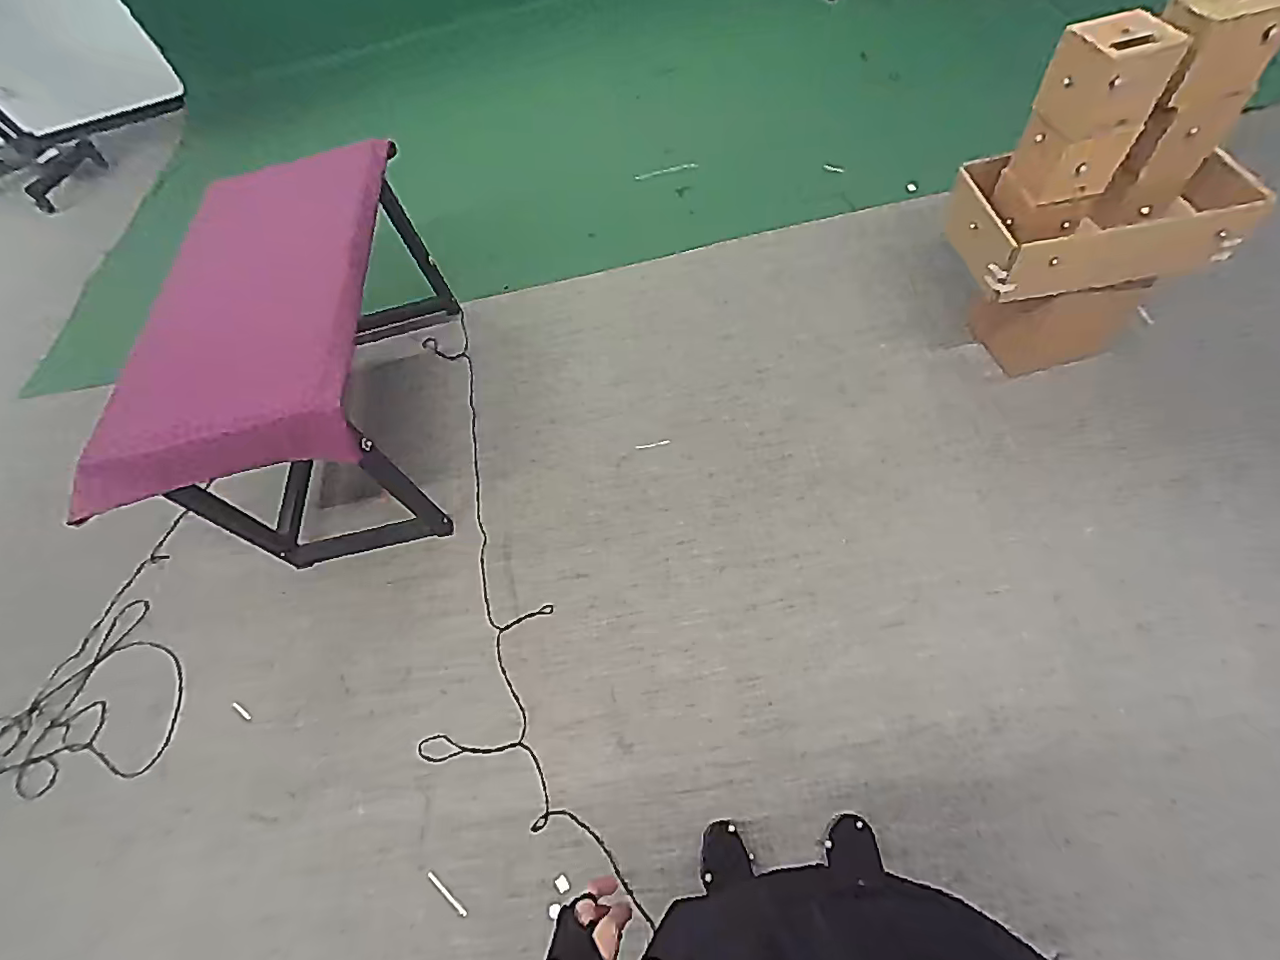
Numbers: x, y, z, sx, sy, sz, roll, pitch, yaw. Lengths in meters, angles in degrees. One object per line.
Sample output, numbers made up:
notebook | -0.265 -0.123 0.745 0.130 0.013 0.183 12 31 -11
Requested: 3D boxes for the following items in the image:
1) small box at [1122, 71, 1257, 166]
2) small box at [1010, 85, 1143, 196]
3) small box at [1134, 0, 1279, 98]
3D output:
small box | 1.329 -0.922 1.348 0.179 0.176 0.168 -16 59 4
small box | 1.077 -0.839 1.353 0.168 0.176 0.179 -11 58 4
small box | 1.281 -0.999 1.209 0.179 0.176 0.168 -9 58 8
